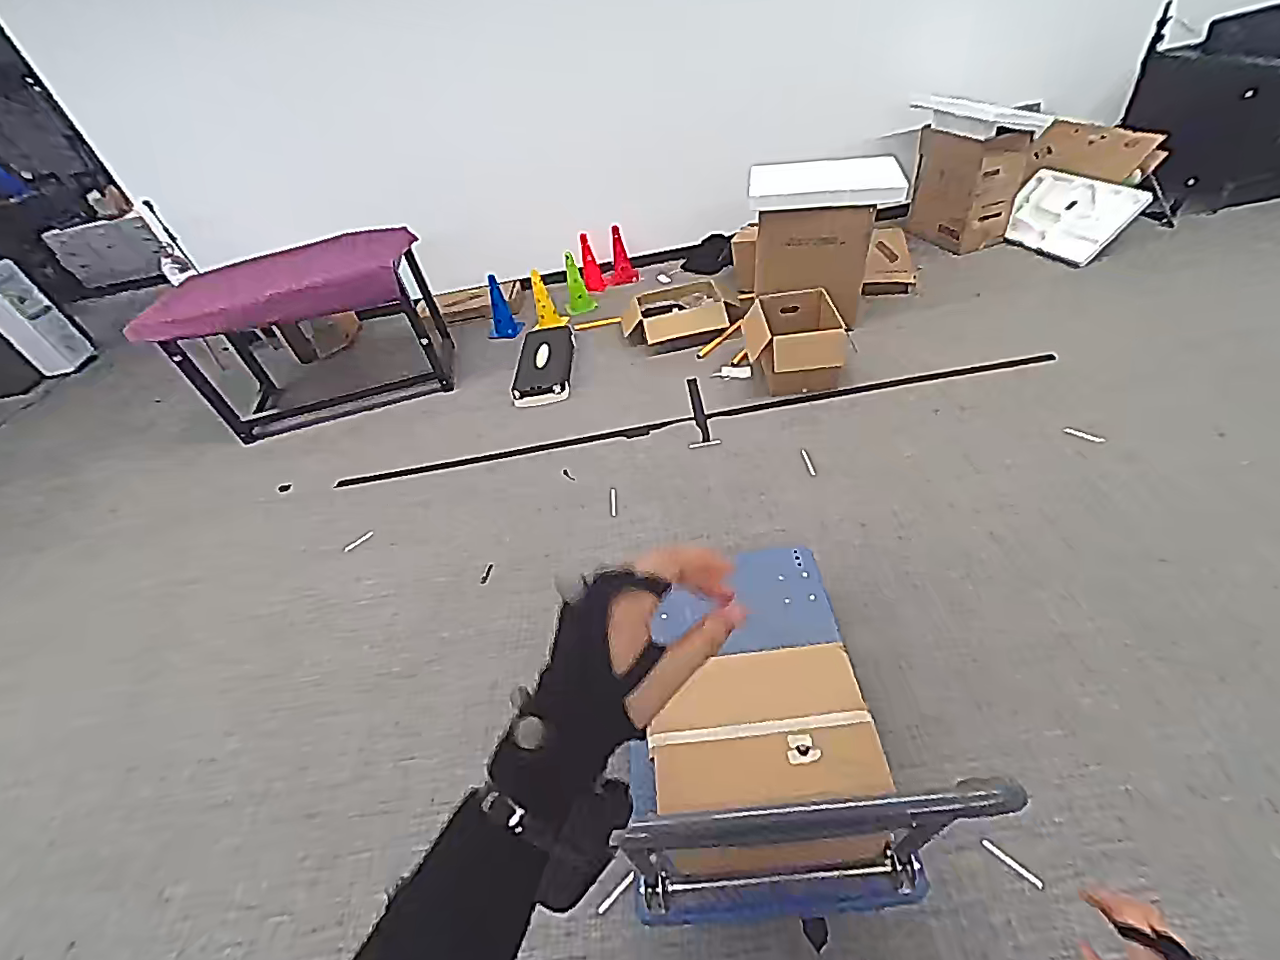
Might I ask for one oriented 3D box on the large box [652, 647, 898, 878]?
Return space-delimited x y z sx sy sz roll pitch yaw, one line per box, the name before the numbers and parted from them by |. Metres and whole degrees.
large box | 0.247 0.584 1.117 0.408 0.320 0.320 -7 43 3
